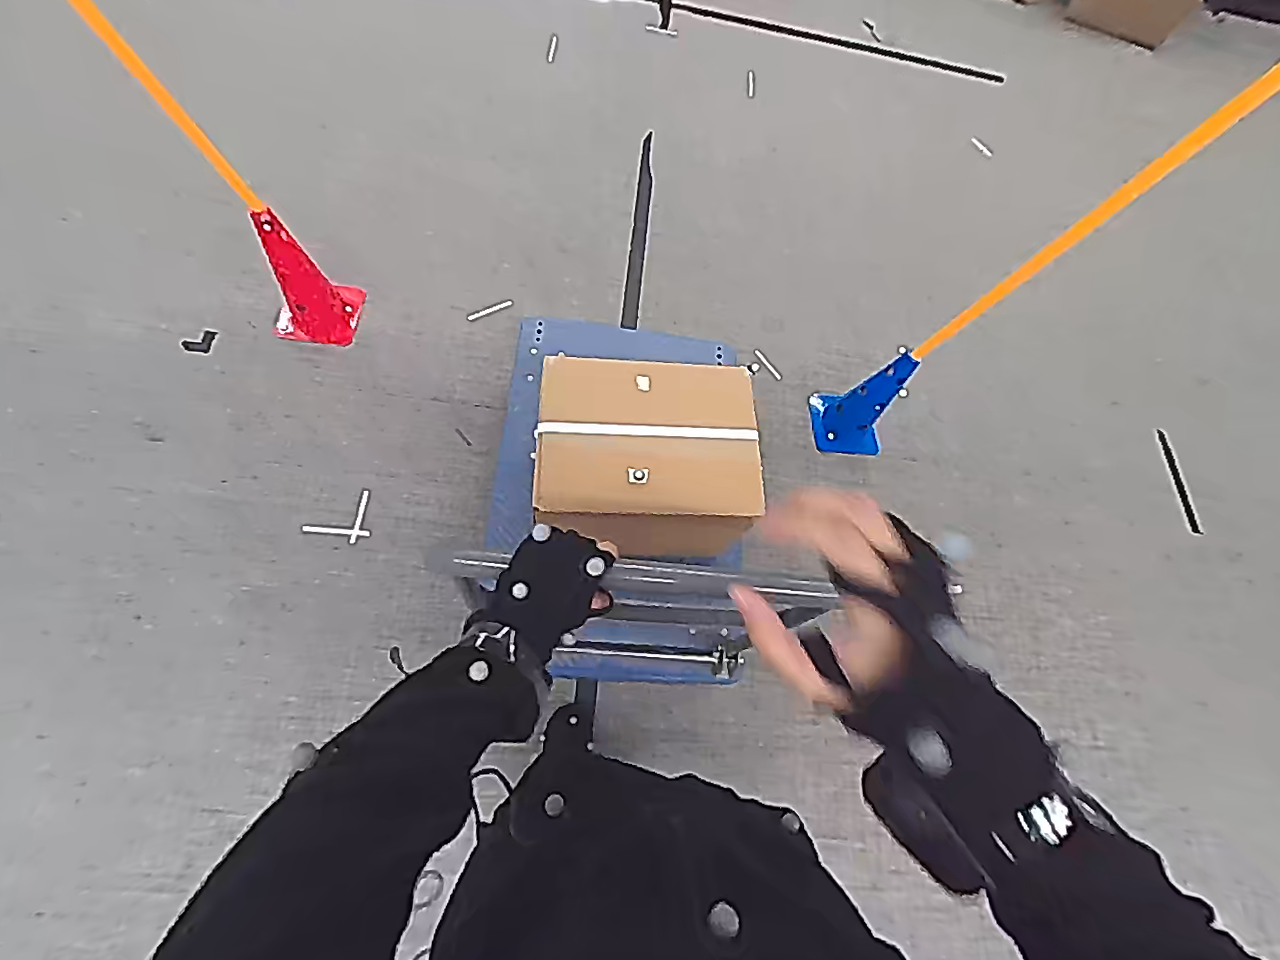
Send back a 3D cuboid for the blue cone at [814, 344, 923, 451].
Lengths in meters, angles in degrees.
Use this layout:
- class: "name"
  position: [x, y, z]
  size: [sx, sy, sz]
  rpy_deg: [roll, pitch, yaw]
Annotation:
- class: "blue cone"
  position: [0.651, -0.239, 1.488]
  size: [0.193, 0.380, 0.192]
  rpy_deg: [4, 67, -8]
